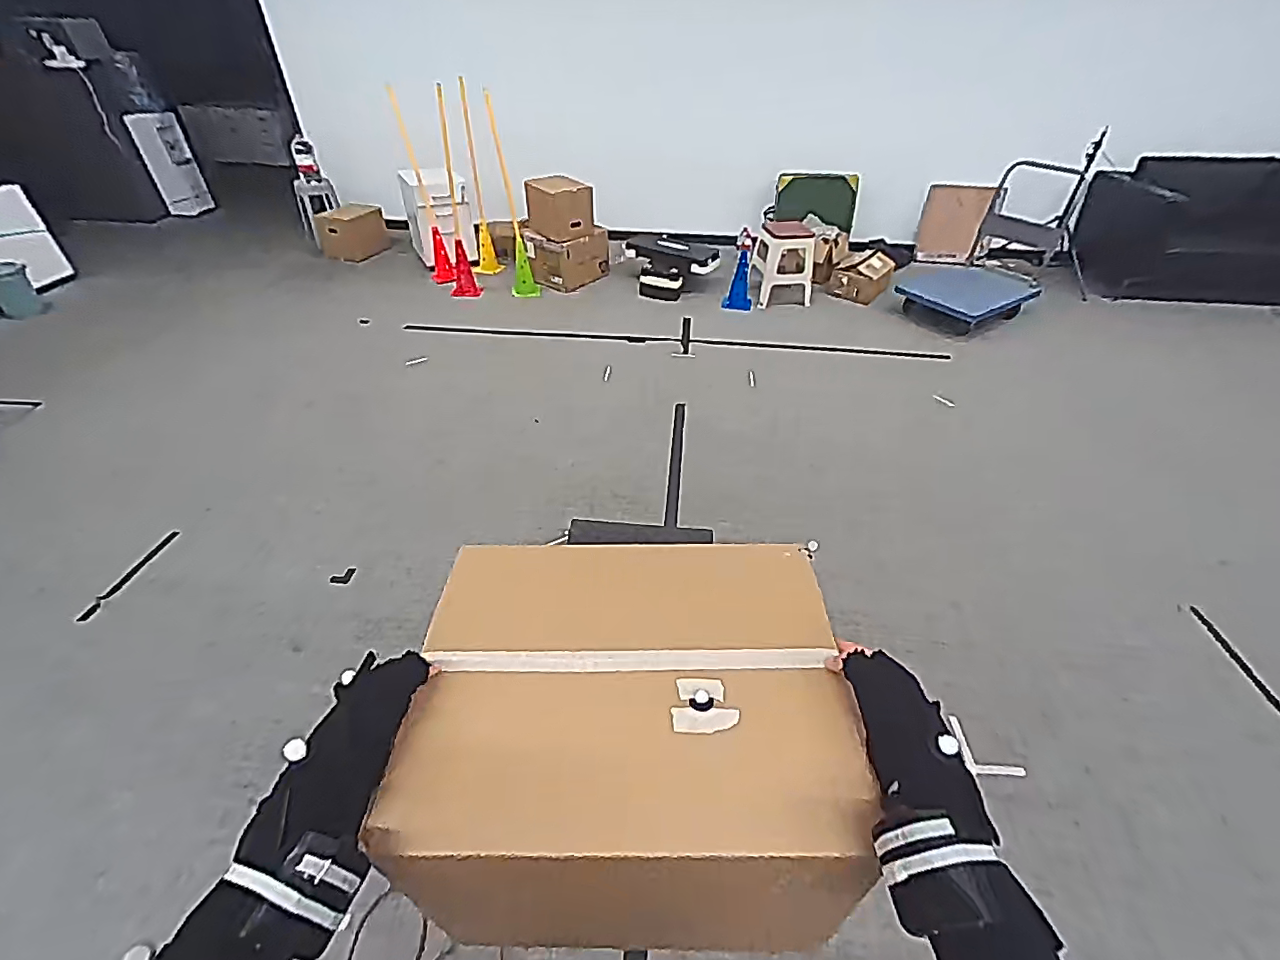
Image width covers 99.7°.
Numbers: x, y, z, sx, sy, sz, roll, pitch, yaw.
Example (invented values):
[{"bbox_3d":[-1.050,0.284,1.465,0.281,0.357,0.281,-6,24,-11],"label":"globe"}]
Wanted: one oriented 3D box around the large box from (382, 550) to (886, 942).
[{"bbox_3d":[-0.004,0.299,0.626,0.408,0.320,0.320,0,40,1],"label":"large box"}]
